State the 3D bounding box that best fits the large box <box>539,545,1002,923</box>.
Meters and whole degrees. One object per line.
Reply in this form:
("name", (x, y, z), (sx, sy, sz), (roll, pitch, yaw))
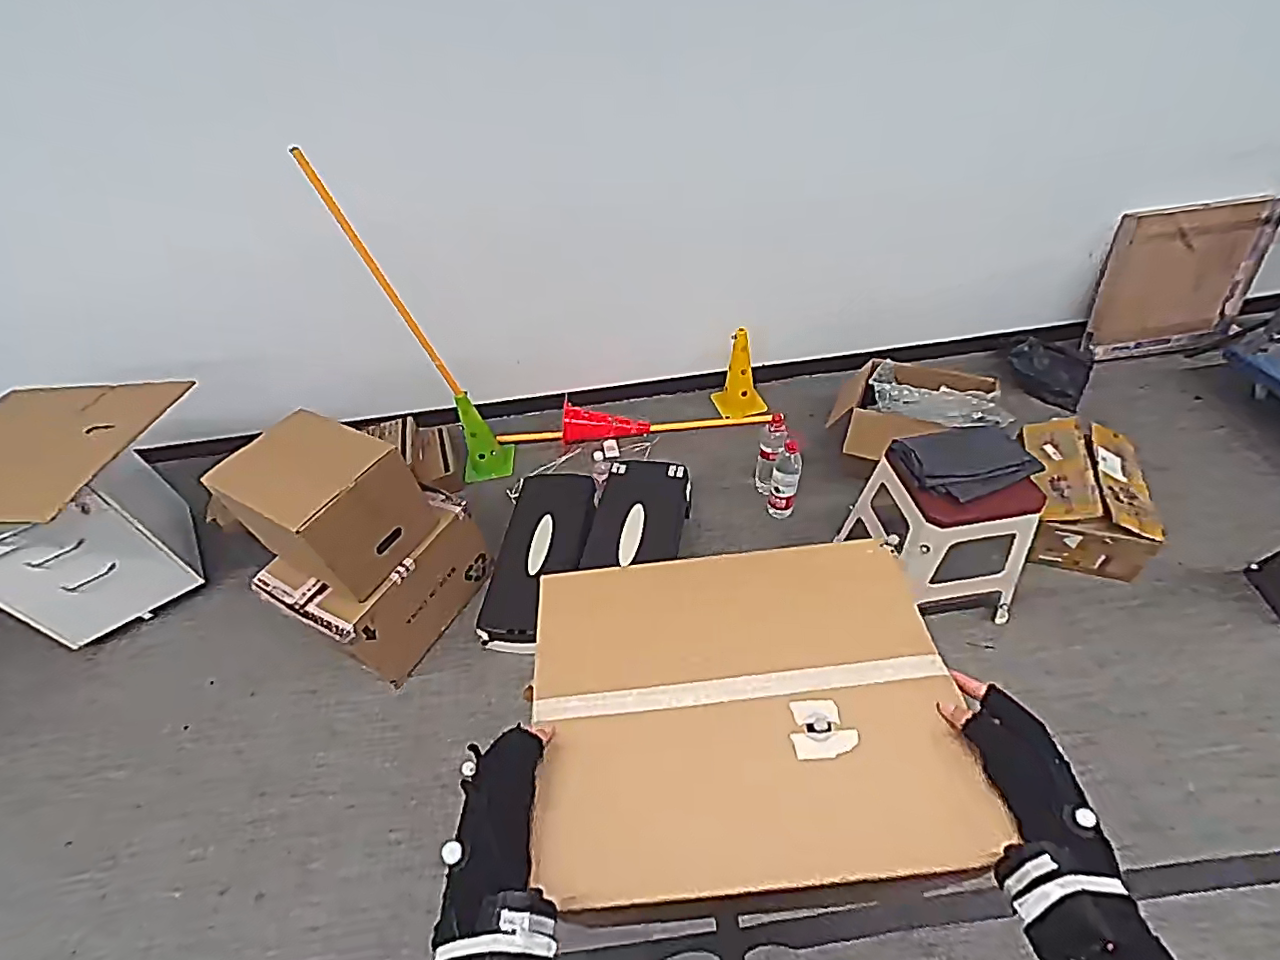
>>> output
("large box", (0.107, 0.314, 0.660), (0.408, 0.320, 0.320), (-7, 49, 0))
